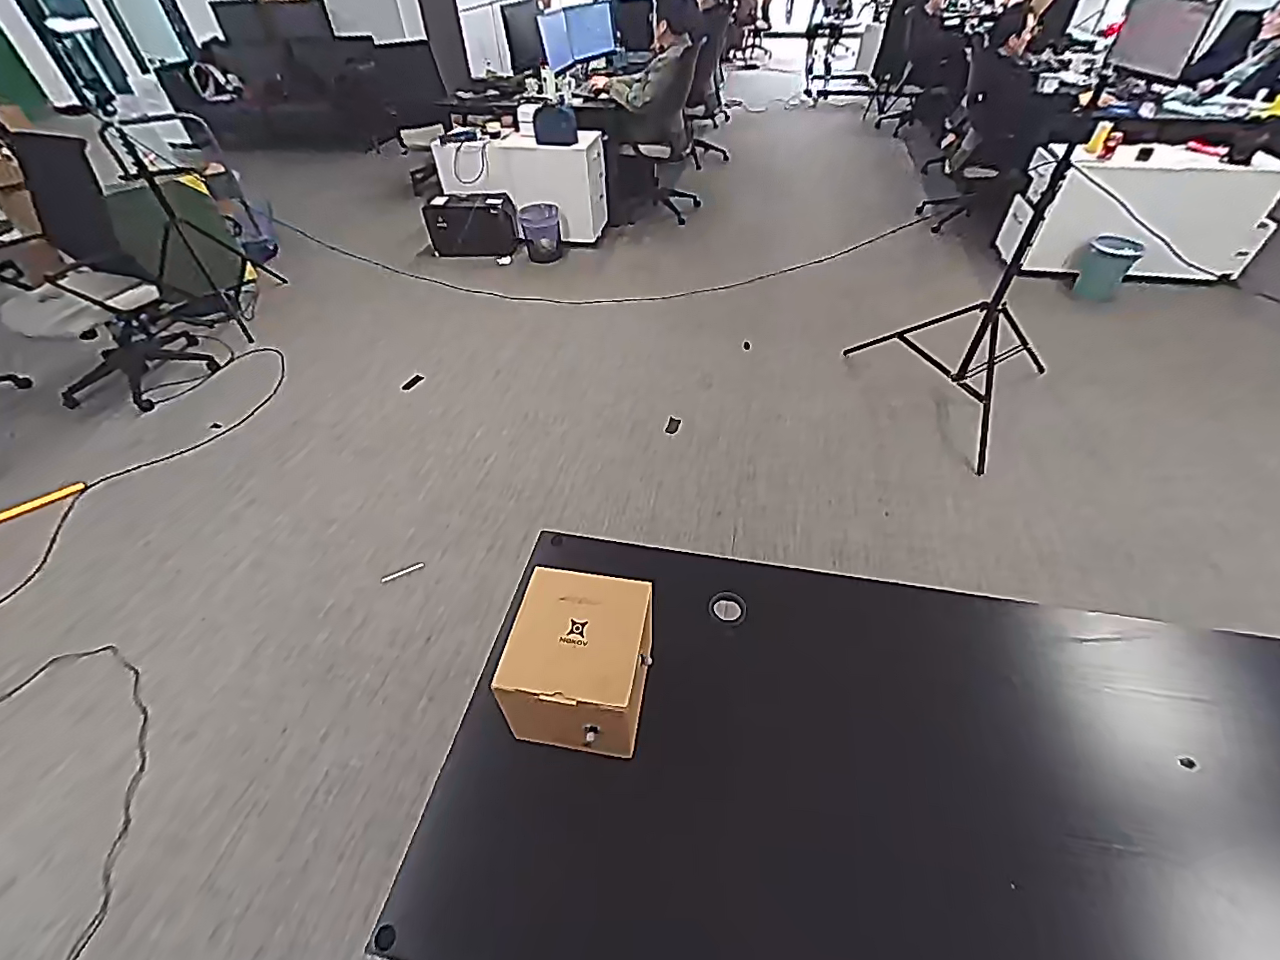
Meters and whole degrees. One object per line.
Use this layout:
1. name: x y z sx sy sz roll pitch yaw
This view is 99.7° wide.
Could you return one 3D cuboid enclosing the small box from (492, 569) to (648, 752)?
1. small box: -0.081 0.249 0.742 0.168 0.176 0.179 7 45 7
